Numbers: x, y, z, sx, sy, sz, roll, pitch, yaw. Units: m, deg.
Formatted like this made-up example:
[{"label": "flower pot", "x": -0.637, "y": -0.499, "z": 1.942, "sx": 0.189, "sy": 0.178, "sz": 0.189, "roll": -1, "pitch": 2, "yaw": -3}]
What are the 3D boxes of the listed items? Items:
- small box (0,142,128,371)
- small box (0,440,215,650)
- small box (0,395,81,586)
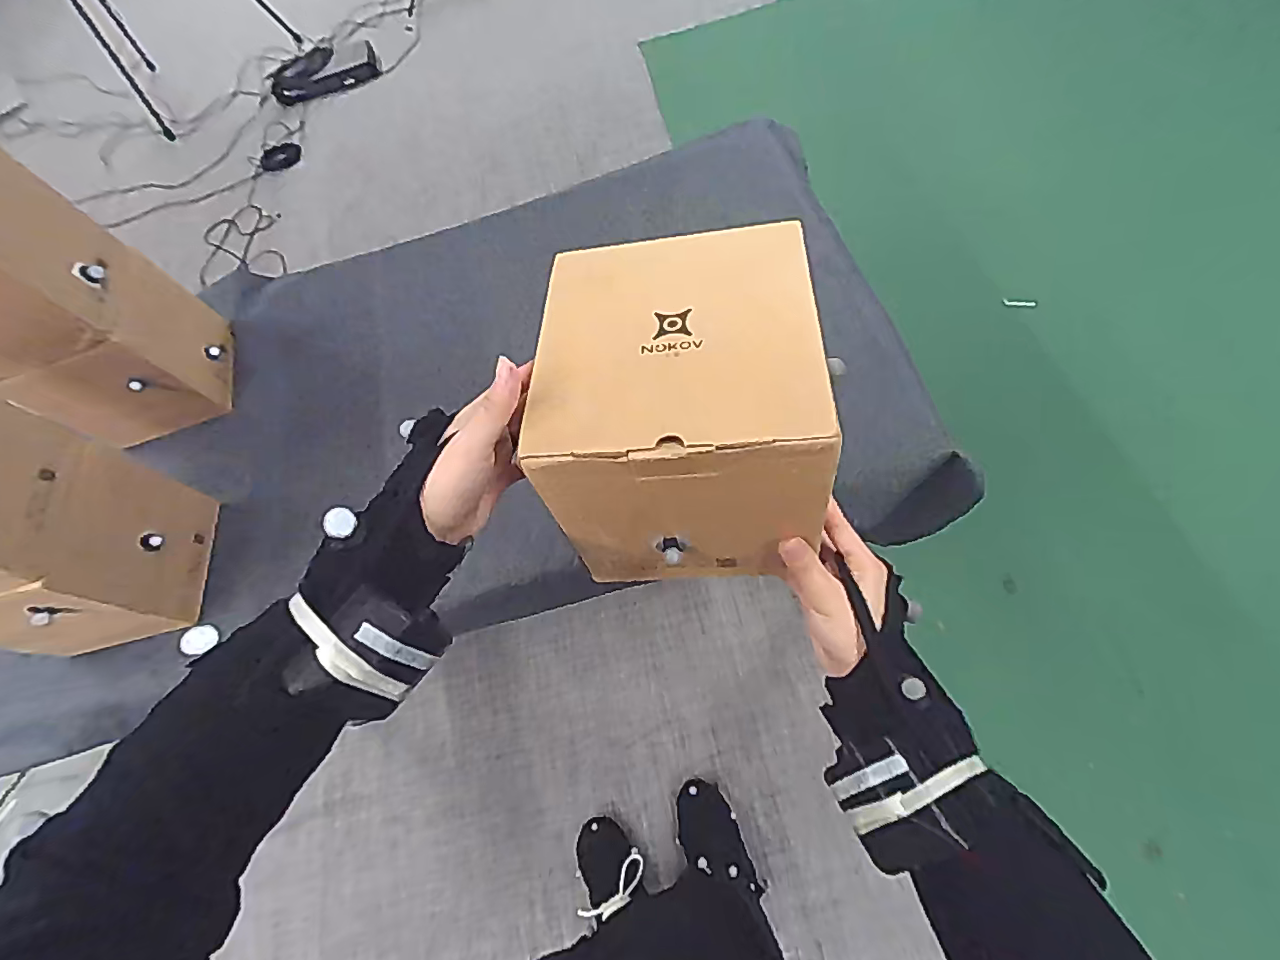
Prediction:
[{"label": "small box", "x": -0.731, "y": -0.242, "z": 0.593, "sx": 0.179, "sy": 0.176, "sz": 0.168, "roll": -19, "pitch": 67, "yaw": -1}, {"label": "small box", "x": -0.633, "y": 0.082, "z": 0.609, "sx": 0.179, "sy": 0.176, "sz": 0.168, "roll": -14, "pitch": 62, "yaw": 3}, {"label": "small box", "x": -0.664, "y": 0.009, "z": 0.466, "sx": 0.179, "sy": 0.176, "sz": 0.168, "roll": -18, "pitch": 63, "yaw": 2}]
